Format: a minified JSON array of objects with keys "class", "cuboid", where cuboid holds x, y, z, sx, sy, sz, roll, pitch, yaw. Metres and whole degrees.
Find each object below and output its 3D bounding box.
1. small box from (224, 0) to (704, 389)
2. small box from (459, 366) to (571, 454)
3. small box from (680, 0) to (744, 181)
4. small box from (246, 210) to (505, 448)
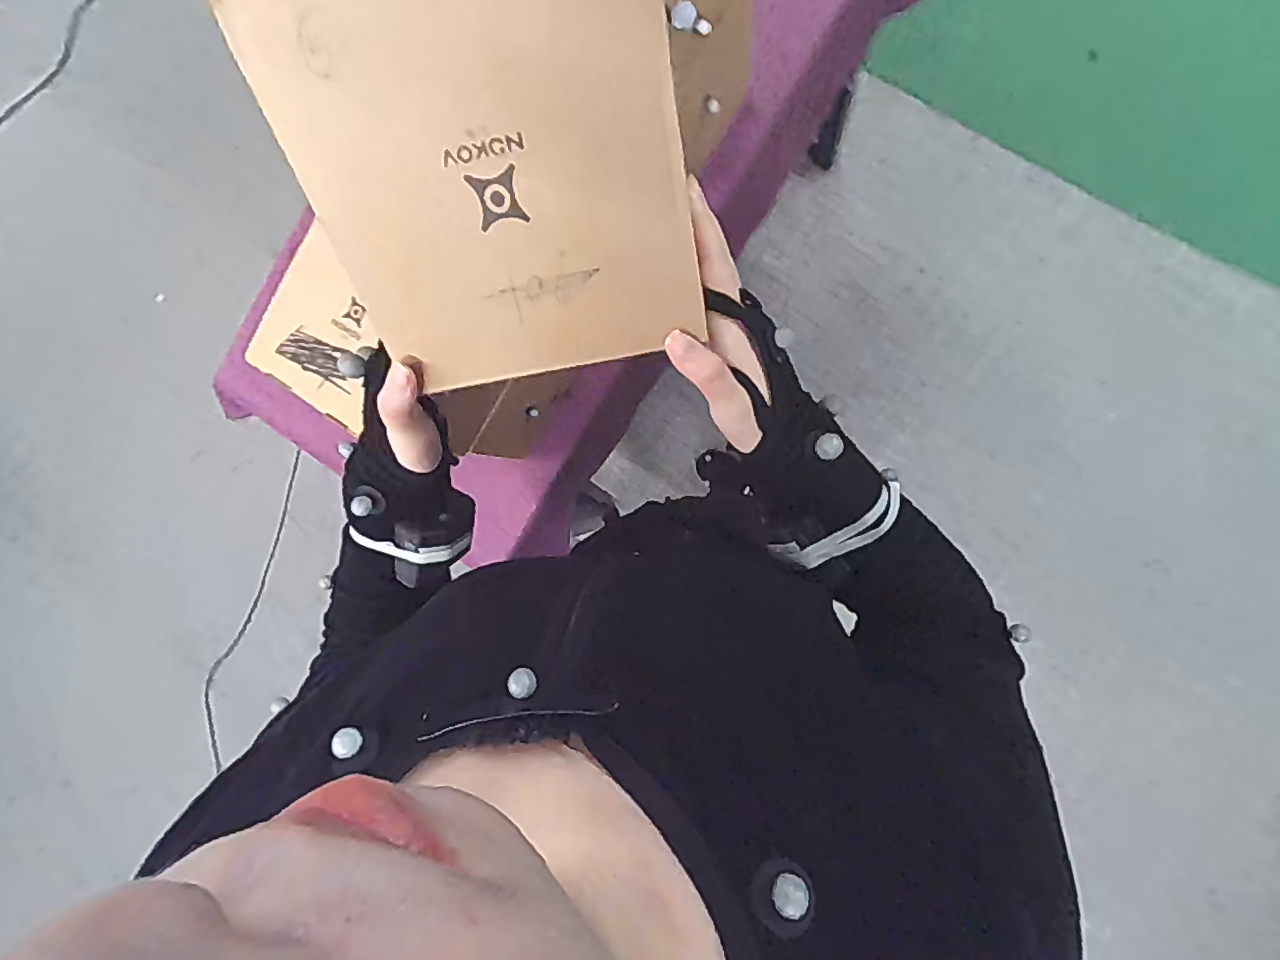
[{"class":"small box","cuboid":[-0.059,-0.175,0.299,0.168,0.176,0.179,-7,127,8]},{"class":"small box","cuboid":[-0.219,-0.146,0.733,0.179,0.176,0.168,33,94,10]},{"class":"small box","cuboid":[0.025,-0.519,0.693,0.168,0.176,0.179,32,96,9]},{"class":"small box","cuboid":[-0.250,-0.147,0.571,0.168,0.176,0.179,32,94,9]}]
